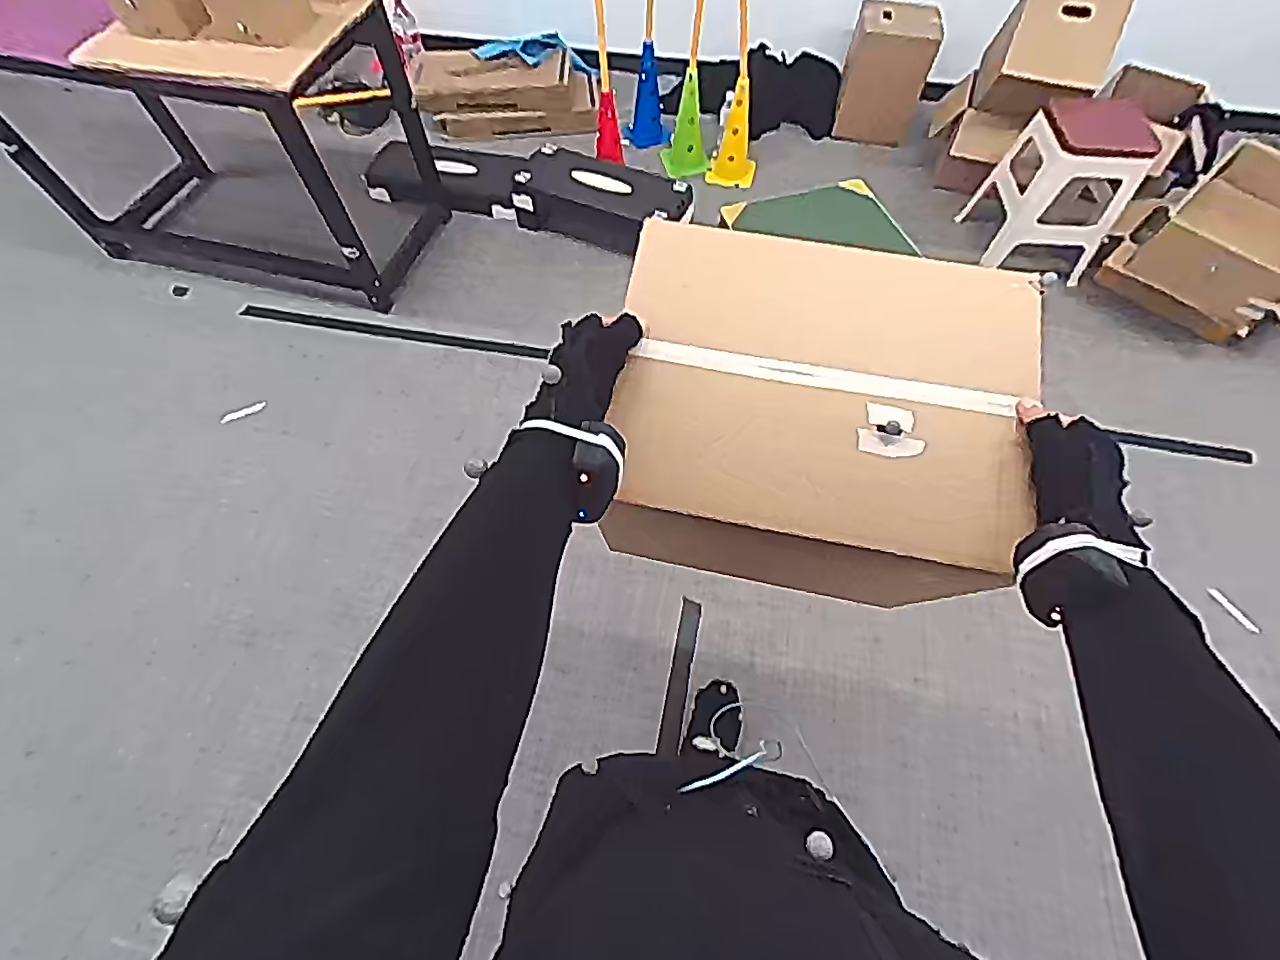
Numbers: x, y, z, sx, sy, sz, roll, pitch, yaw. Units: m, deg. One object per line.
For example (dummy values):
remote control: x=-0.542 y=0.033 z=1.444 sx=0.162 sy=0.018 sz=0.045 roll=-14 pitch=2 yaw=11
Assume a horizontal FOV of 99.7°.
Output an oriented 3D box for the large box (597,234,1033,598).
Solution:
large box: x=0.183 y=-0.053 z=0.677 sx=0.408 sy=0.320 sz=0.320 roll=11 pitch=74 yaw=5
